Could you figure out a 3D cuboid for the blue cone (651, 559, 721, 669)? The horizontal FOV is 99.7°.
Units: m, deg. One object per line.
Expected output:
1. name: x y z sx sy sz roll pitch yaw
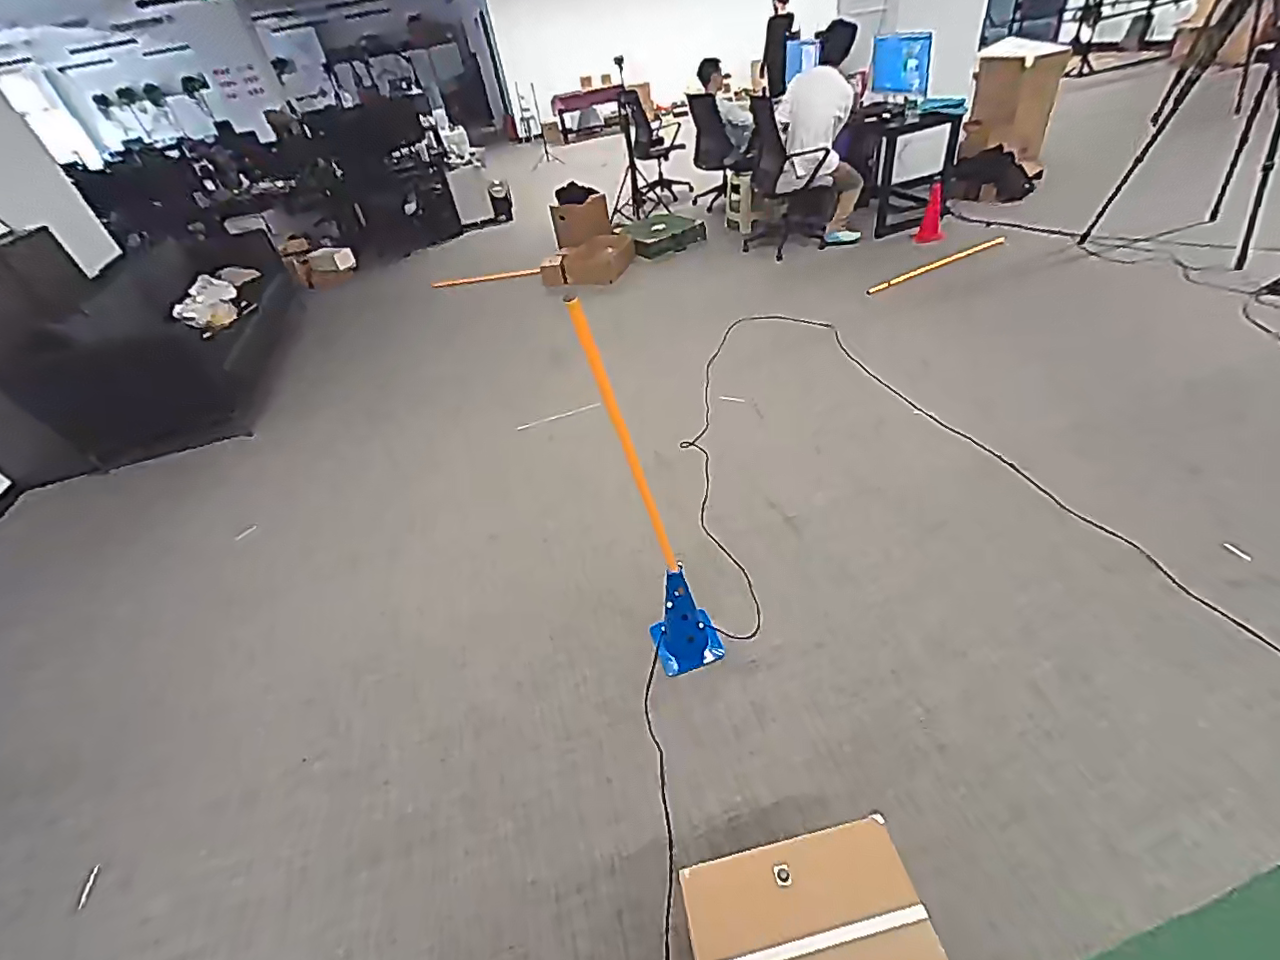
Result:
1. blue cone: 0.118 0.378 1.618 0.193 0.380 0.192 -21 40 -9
